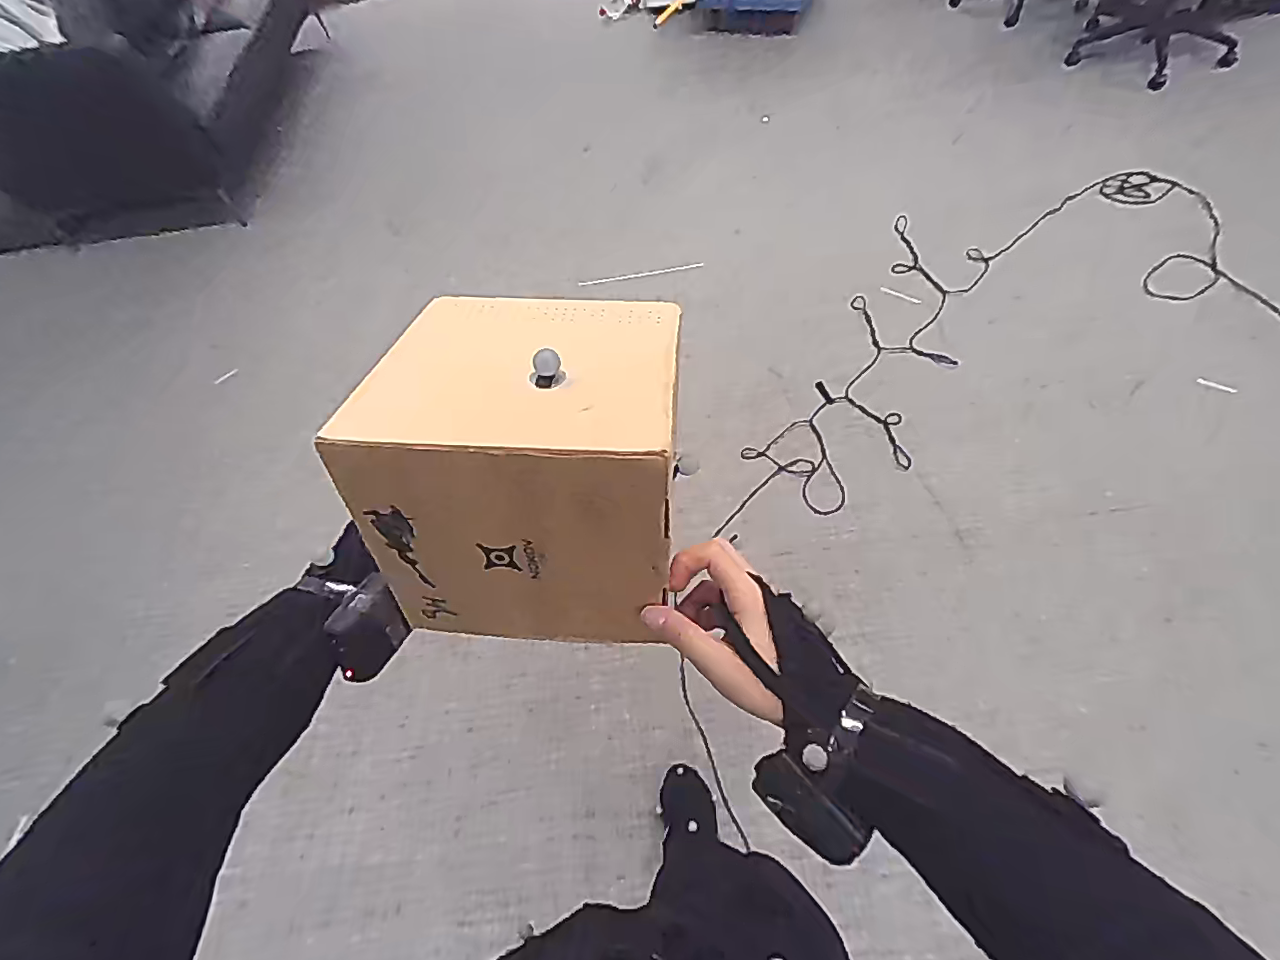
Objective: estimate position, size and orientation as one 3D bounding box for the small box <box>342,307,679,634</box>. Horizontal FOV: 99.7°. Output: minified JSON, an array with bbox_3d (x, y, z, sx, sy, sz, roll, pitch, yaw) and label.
[{"bbox_3d":[-0.063,-0.012,0.384,0.179,0.168,0.176,2,41,3],"label":"small box"}]
